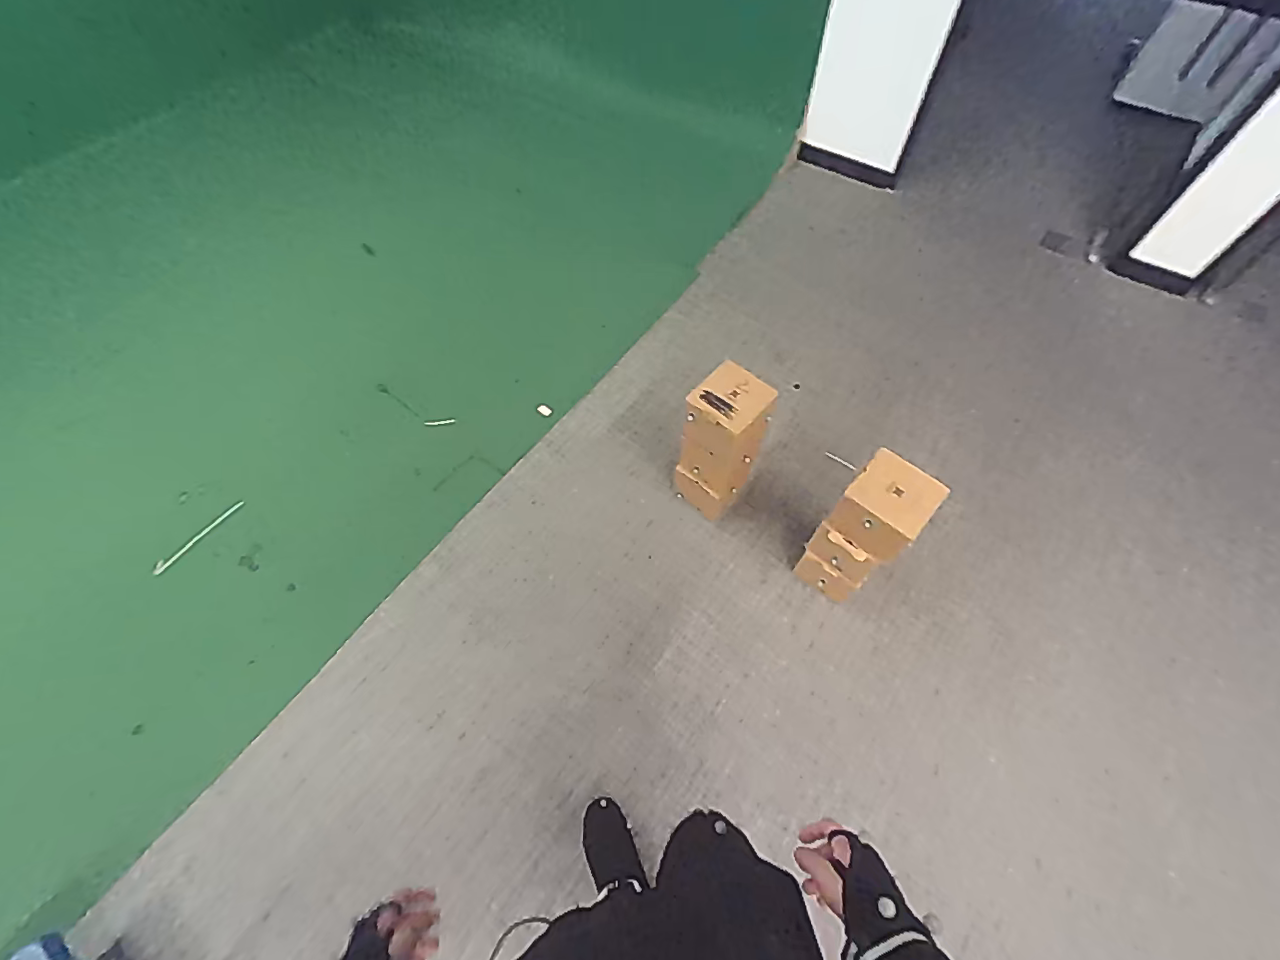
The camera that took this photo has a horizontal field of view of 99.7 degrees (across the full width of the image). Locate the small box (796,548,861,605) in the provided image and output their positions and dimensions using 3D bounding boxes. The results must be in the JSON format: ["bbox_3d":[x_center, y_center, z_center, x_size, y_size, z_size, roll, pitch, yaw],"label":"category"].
[{"bbox_3d":[0.569,0.234,1.562,0.168,0.176,0.179,35,68,18],"label":"small box"}]

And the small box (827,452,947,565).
[{"bbox_3d":[0.571,0.073,1.276,0.179,0.176,0.168,39,69,20],"label":"small box"}]

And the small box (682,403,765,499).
[{"bbox_3d":[0.231,-0.081,1.561,0.168,0.176,0.179,38,69,19],"label":"small box"}]

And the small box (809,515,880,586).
[{"bbox_3d":[0.571,0.148,1.421,0.168,0.176,0.179,39,69,21],"label":"small box"}]

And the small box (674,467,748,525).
[{"bbox_3d":[0.223,0.012,1.713,0.168,0.176,0.179,37,68,19],"label":"small box"}]
